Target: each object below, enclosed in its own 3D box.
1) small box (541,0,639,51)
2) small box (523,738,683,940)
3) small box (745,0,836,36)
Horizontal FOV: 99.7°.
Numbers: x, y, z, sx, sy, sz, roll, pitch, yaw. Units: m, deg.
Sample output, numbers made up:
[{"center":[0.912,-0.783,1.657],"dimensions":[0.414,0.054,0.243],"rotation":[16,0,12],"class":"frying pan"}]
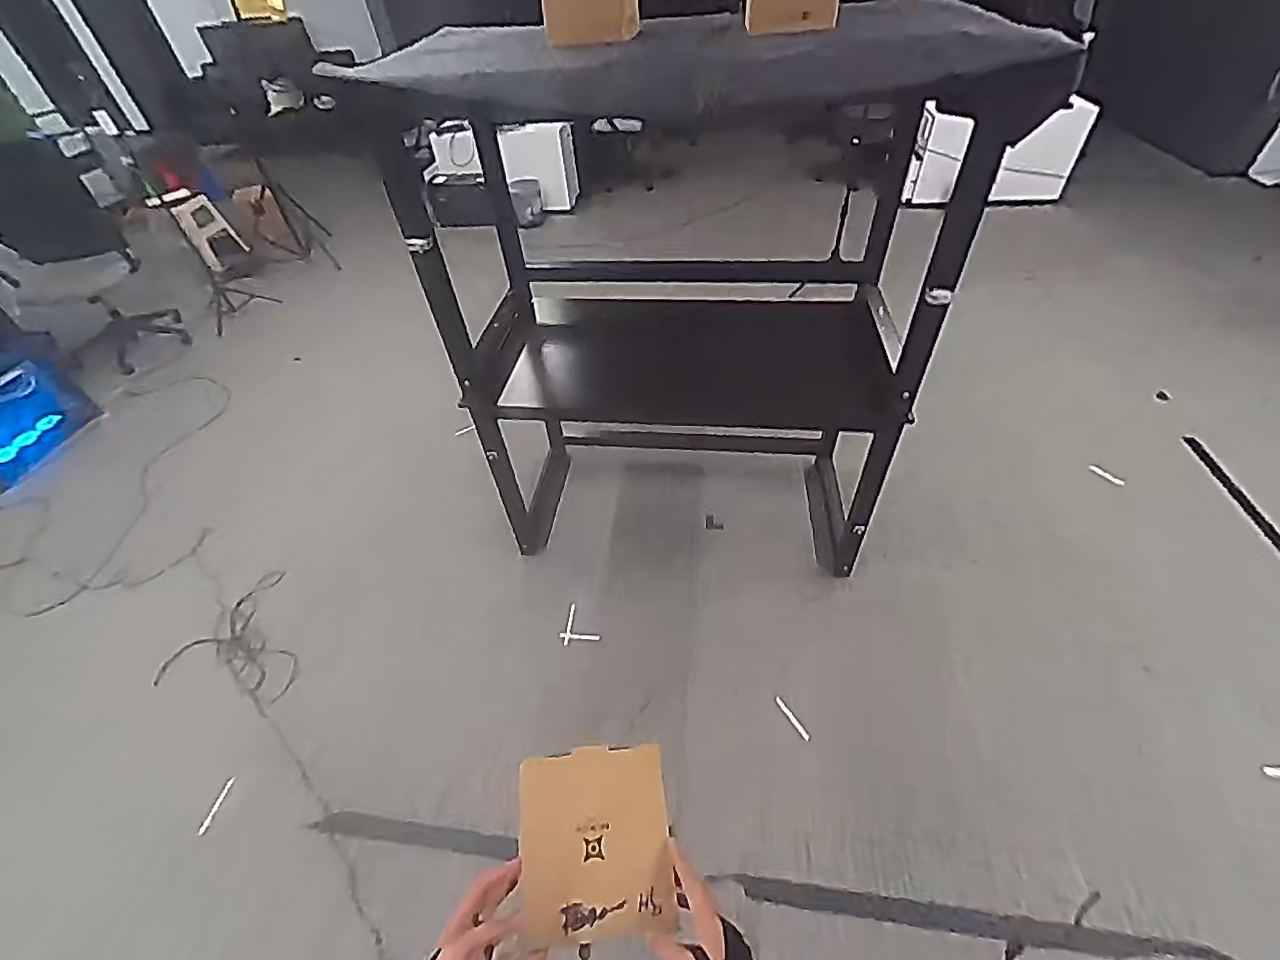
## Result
[{"center":[-0.101,-1.006,1.113],"dimensions":[0.179,0.176,0.168],"rotation":[3,47,8],"class":"small box"},{"center":[-0.041,0.430,0.659],"dimensions":[0.168,0.176,0.179],"rotation":[-6,57,-1],"class":"small box"},{"center":[0.296,-0.987,1.059],"dimensions":[0.168,0.176,0.179],"rotation":[2,47,6],"class":"small box"}]
